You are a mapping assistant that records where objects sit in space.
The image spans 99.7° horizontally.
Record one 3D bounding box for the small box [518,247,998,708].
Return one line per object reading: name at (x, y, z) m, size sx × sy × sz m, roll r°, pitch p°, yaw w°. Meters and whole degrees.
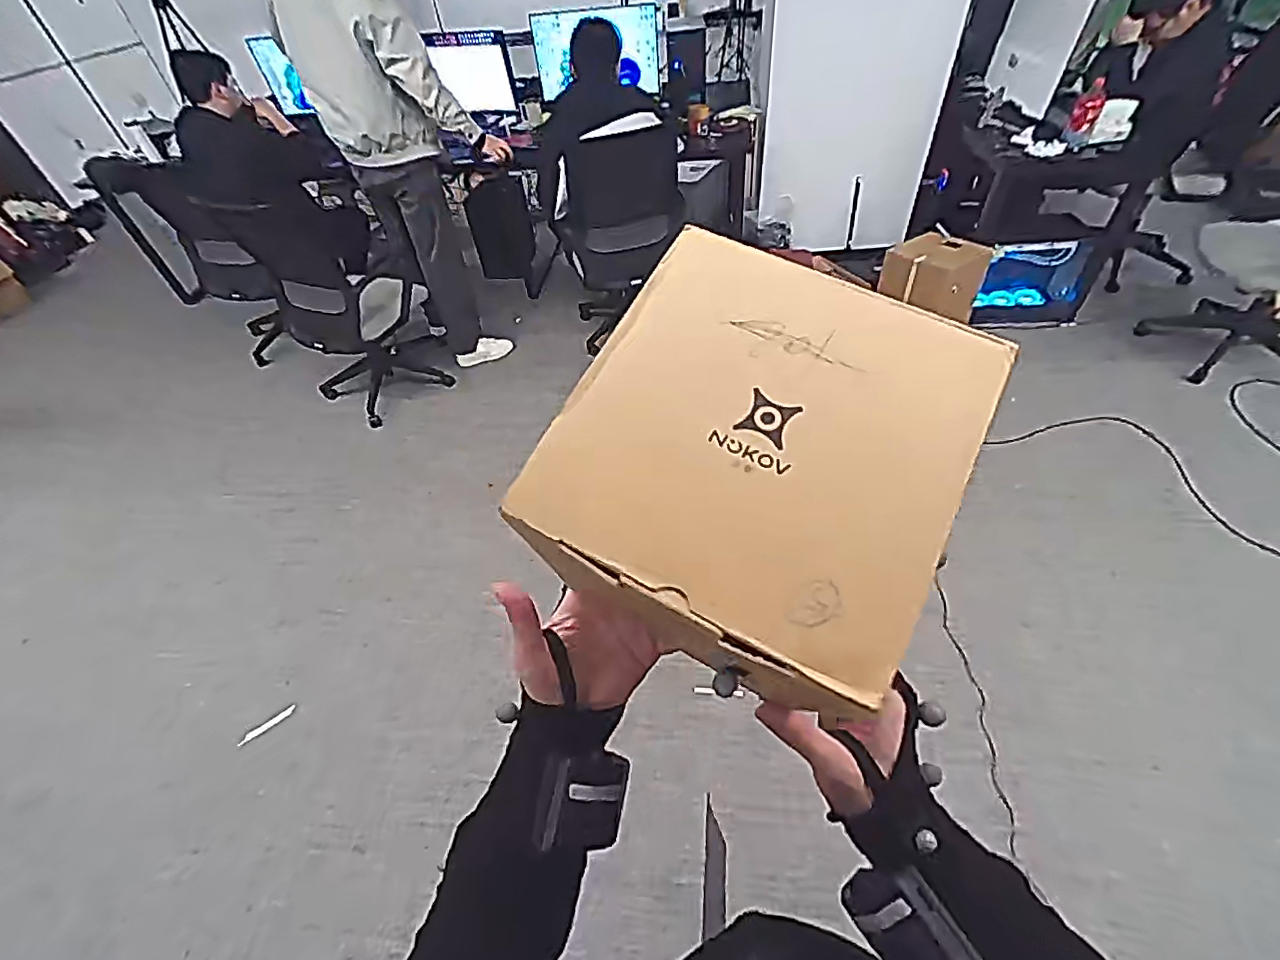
small box at (0.060, 0.011, 0.318) m, size 0.168 × 0.176 × 0.179 m, roll 26°, pitch 71°, yaw 12°
